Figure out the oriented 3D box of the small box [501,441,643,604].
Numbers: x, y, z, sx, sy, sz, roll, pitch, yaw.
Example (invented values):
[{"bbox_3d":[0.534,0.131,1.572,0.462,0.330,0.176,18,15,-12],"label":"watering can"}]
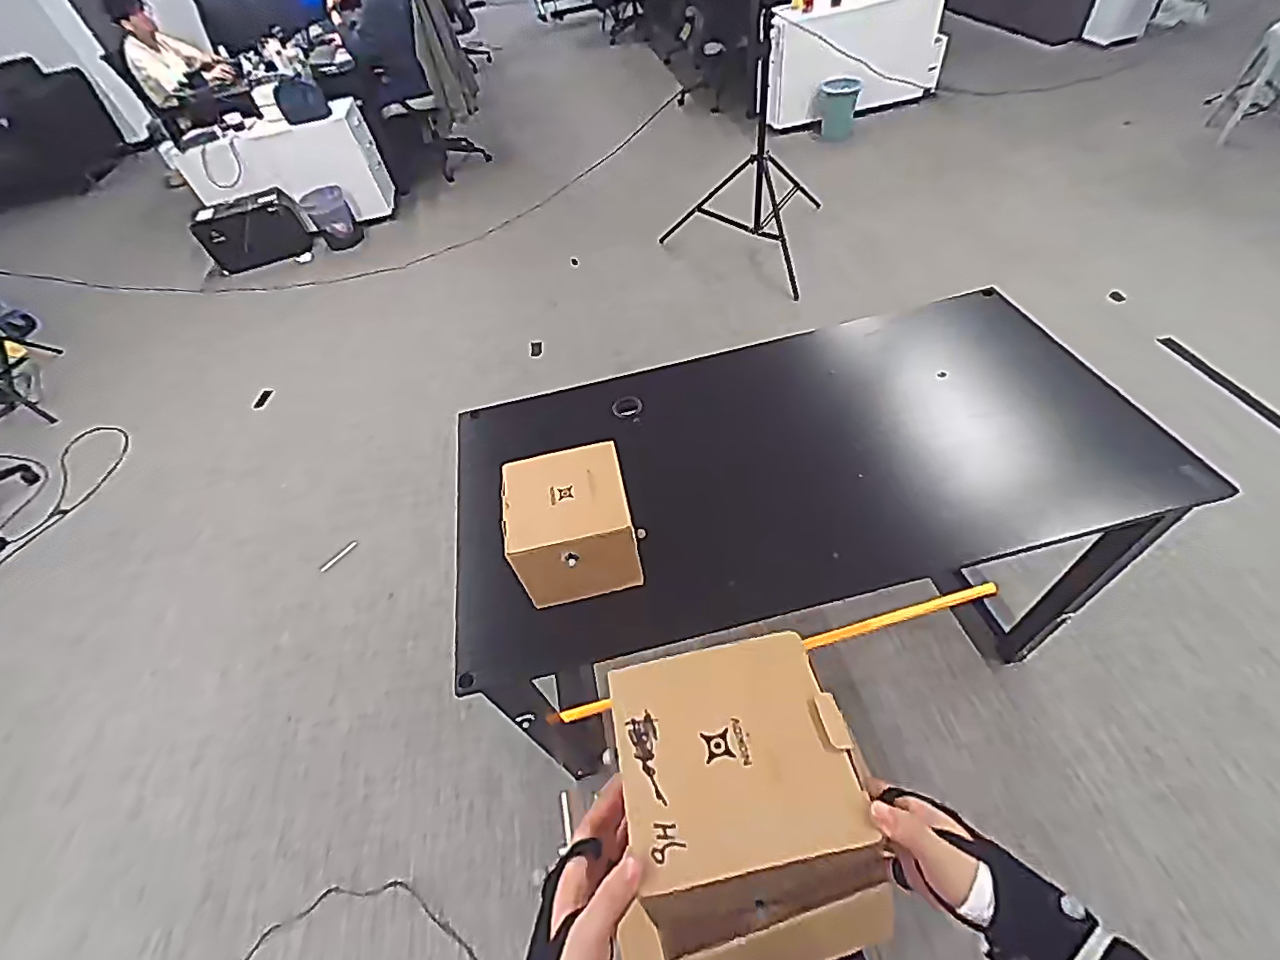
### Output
[{"bbox_3d":[-0.101,0.071,0.829,0.179,0.176,0.168,-13,51,-3],"label":"small box"}]
